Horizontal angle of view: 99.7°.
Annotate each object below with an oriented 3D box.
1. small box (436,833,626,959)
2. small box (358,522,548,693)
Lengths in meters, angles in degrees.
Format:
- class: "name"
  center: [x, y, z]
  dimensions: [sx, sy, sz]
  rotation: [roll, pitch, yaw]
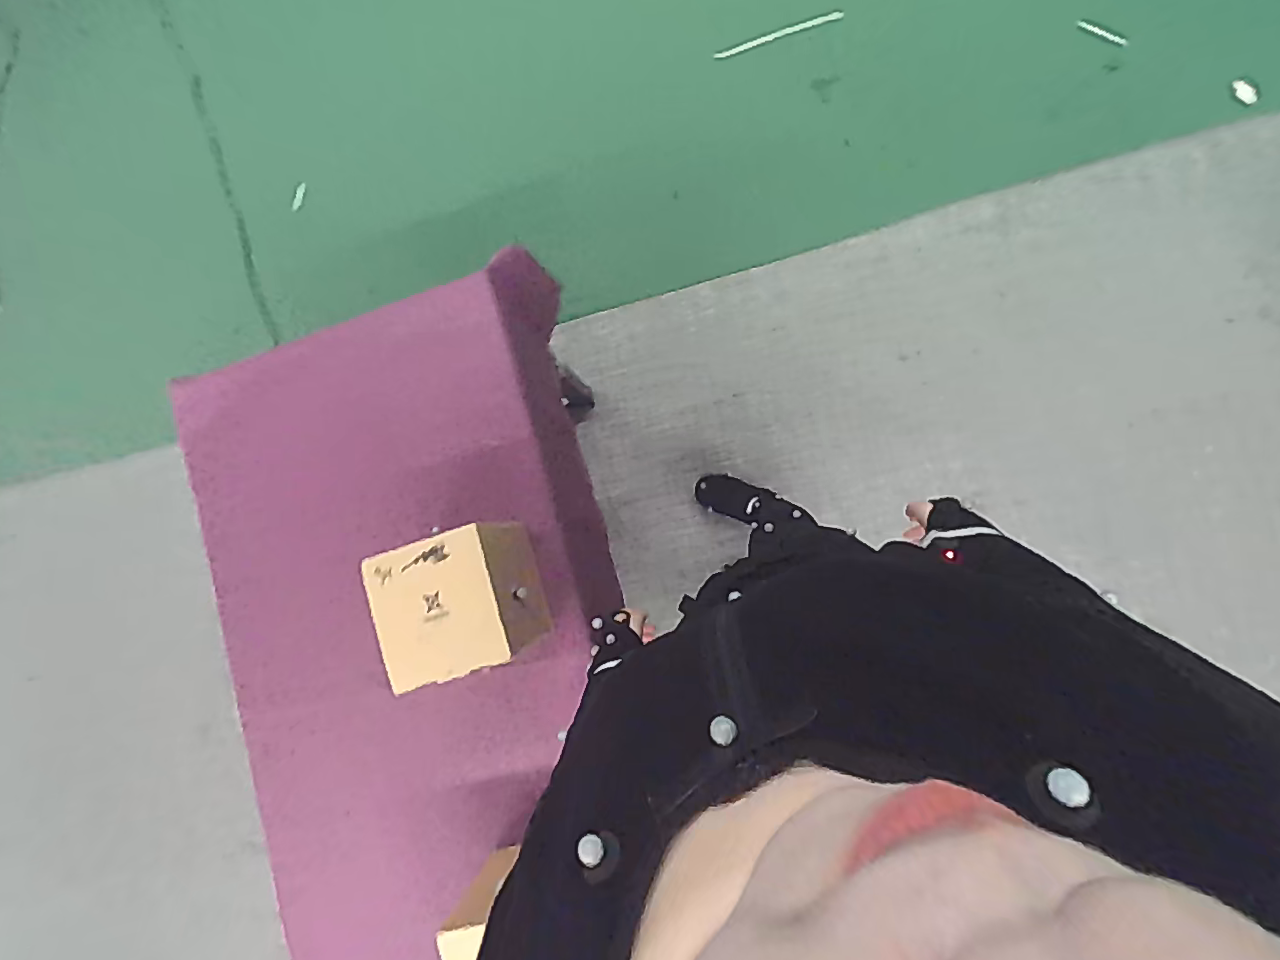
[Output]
- class: "small box"
  center: [-0.125, 0.591, 0.694]
  dimensions: [0.179, 0.176, 0.168]
  rotation: [-18, 82, 8]
- class: "small box"
  center: [-0.245, 0.164, 0.746]
  dimensions: [0.168, 0.176, 0.179]
  rotation: [-19, 84, 7]
